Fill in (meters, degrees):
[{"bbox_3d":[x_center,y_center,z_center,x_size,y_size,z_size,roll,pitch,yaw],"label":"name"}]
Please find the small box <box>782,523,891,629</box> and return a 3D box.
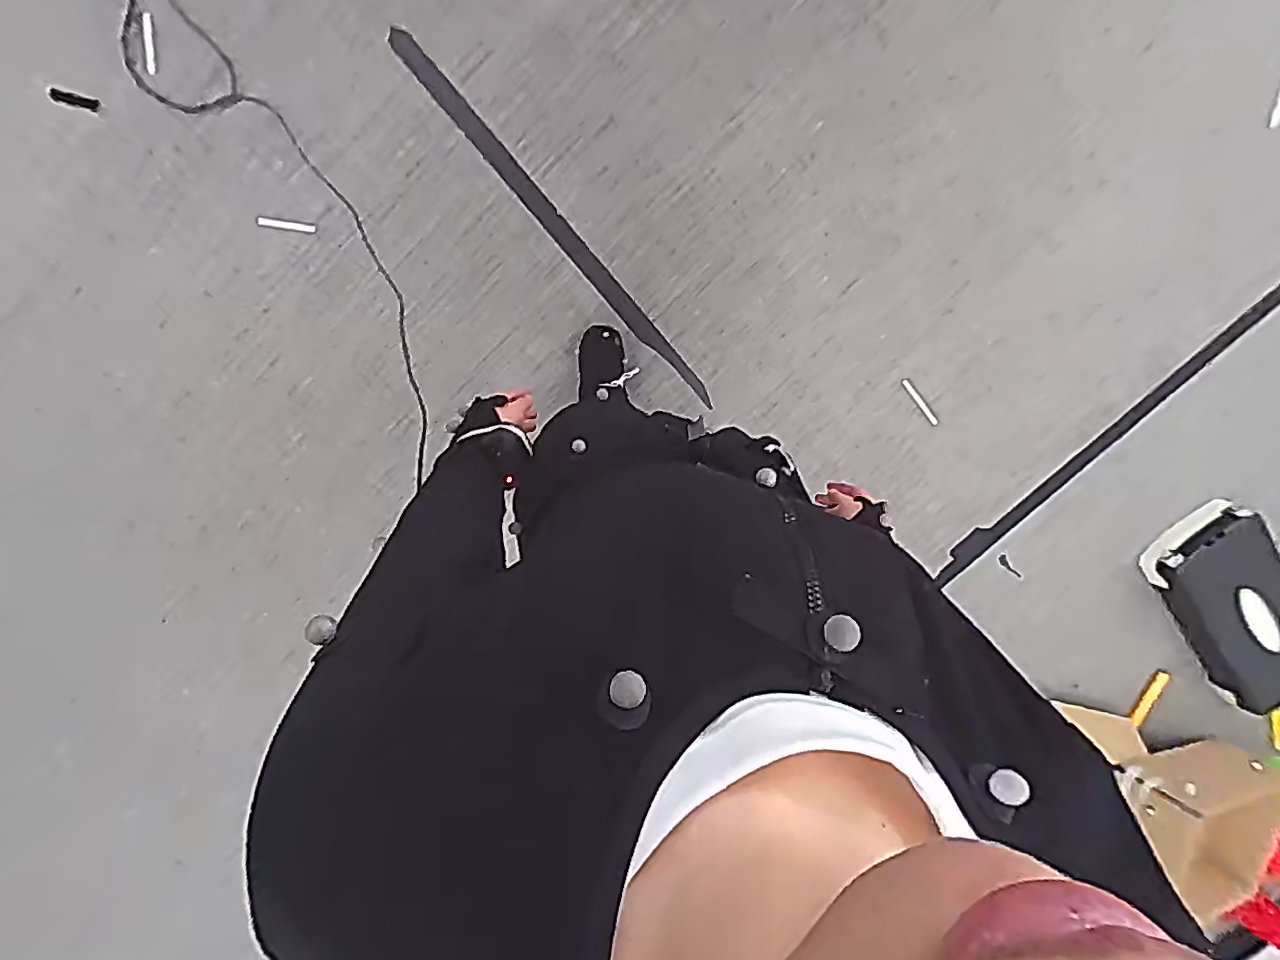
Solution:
[{"bbox_3d":[0.498,0.239,1.392,0.168,0.176,0.179,-40,102,6],"label":"small box"}]
